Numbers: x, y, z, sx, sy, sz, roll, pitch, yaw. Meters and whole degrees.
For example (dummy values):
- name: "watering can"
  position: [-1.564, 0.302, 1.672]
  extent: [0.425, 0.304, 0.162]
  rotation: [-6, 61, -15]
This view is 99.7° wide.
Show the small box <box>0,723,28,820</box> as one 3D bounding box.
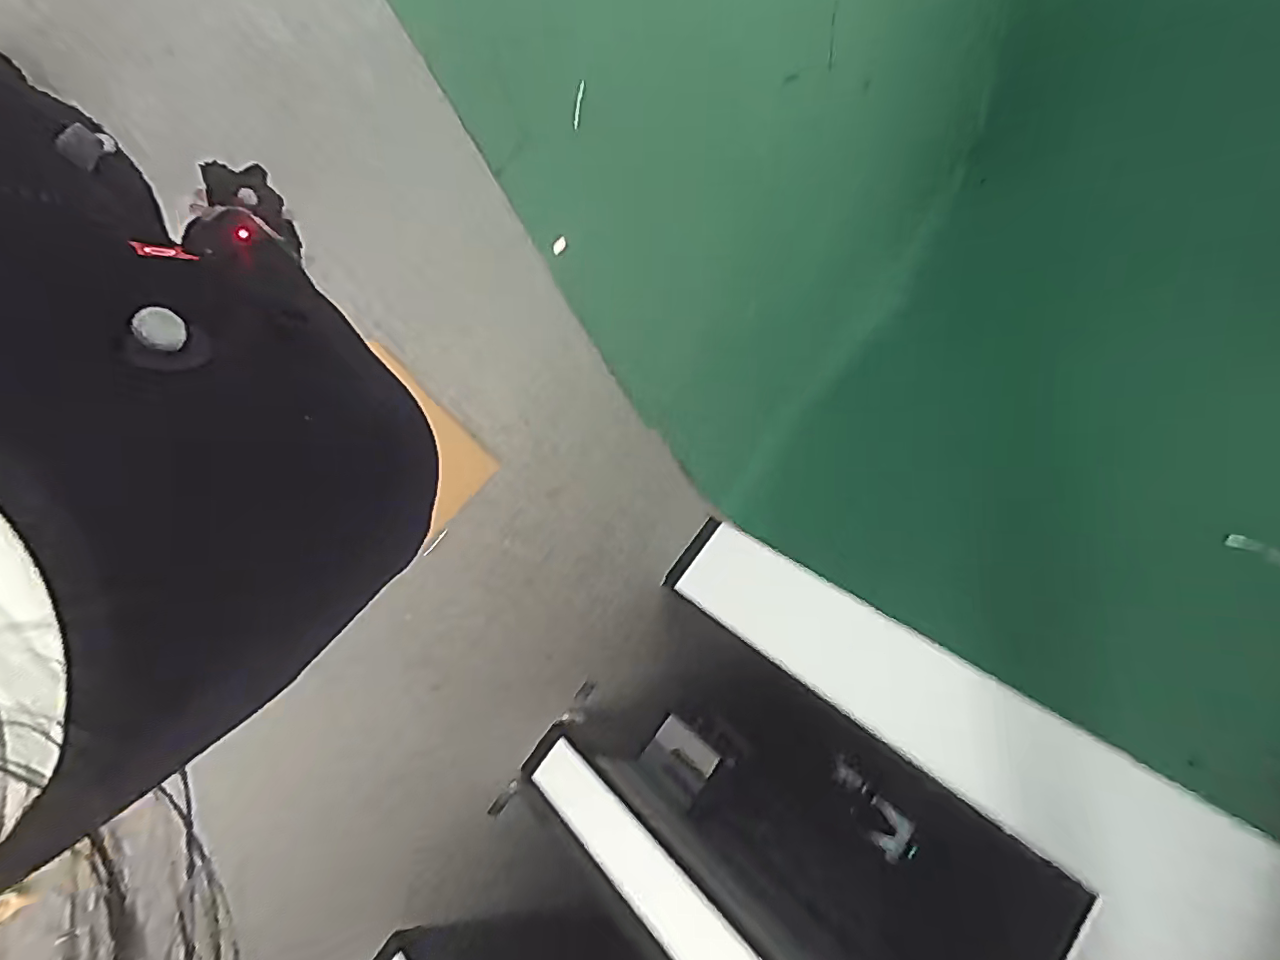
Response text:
- name: "small box"
  position: [-1.106, 0.474, 0.835]
  extent: [0.168, 0.176, 0.179]
  rotation: [-28, 131, -36]

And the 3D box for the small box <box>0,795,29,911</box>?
- name: "small box"
  position: [-0.994, 0.528, 0.726]
  extent: [0.168, 0.176, 0.179]
  rotation: [-34, 135, -31]
